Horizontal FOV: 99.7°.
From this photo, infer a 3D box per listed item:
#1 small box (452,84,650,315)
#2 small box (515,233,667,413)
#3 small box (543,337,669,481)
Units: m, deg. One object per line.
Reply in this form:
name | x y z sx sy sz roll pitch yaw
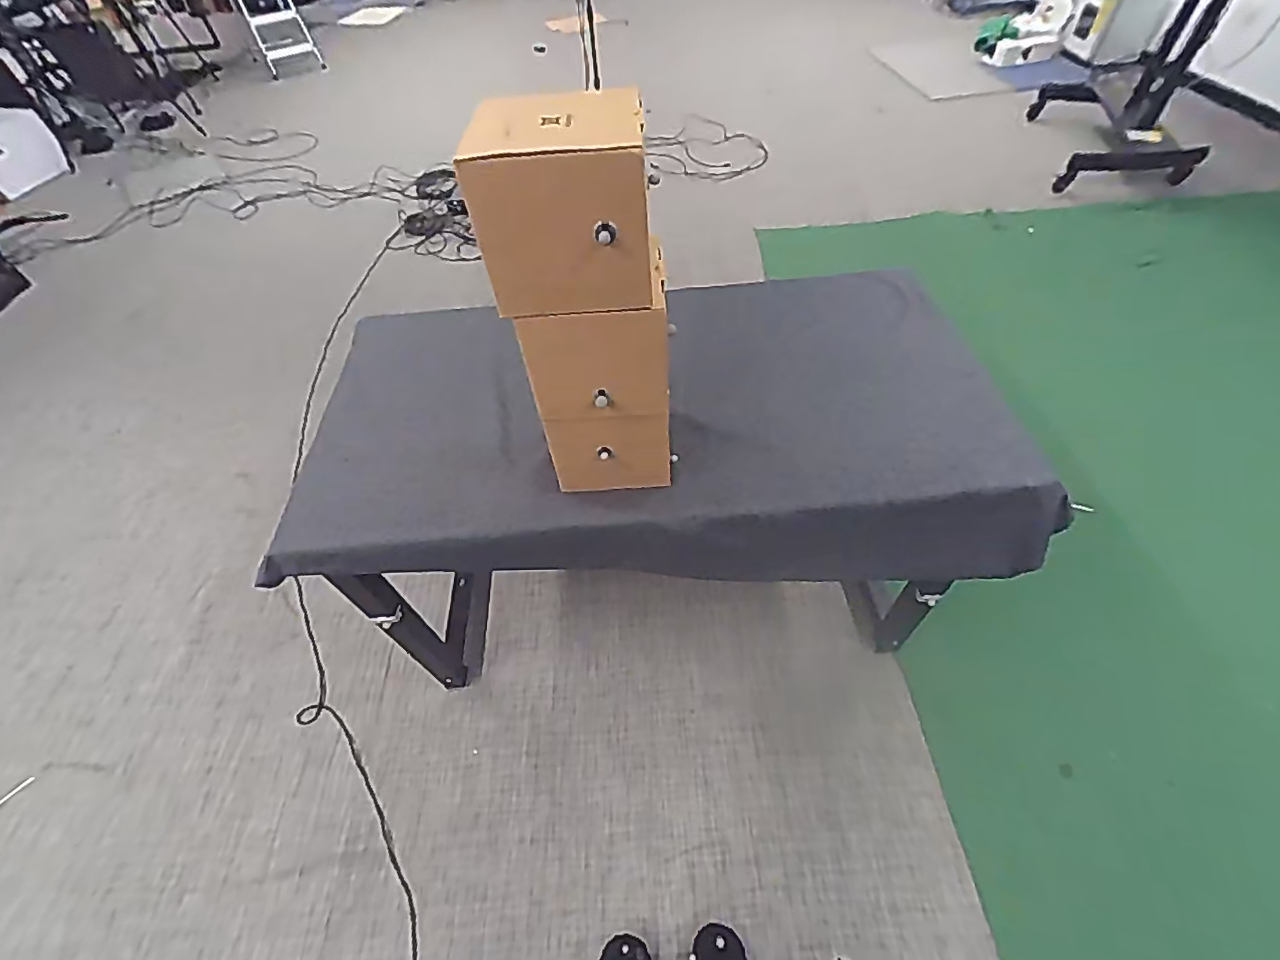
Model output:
small box | -0.079 -0.303 0.596 0.179 0.176 0.168 -4 51 3
small box | -0.054 -0.205 0.725 0.179 0.176 0.168 -3 52 2
small box | -0.043 -0.111 0.855 0.179 0.176 0.168 -1 50 4
